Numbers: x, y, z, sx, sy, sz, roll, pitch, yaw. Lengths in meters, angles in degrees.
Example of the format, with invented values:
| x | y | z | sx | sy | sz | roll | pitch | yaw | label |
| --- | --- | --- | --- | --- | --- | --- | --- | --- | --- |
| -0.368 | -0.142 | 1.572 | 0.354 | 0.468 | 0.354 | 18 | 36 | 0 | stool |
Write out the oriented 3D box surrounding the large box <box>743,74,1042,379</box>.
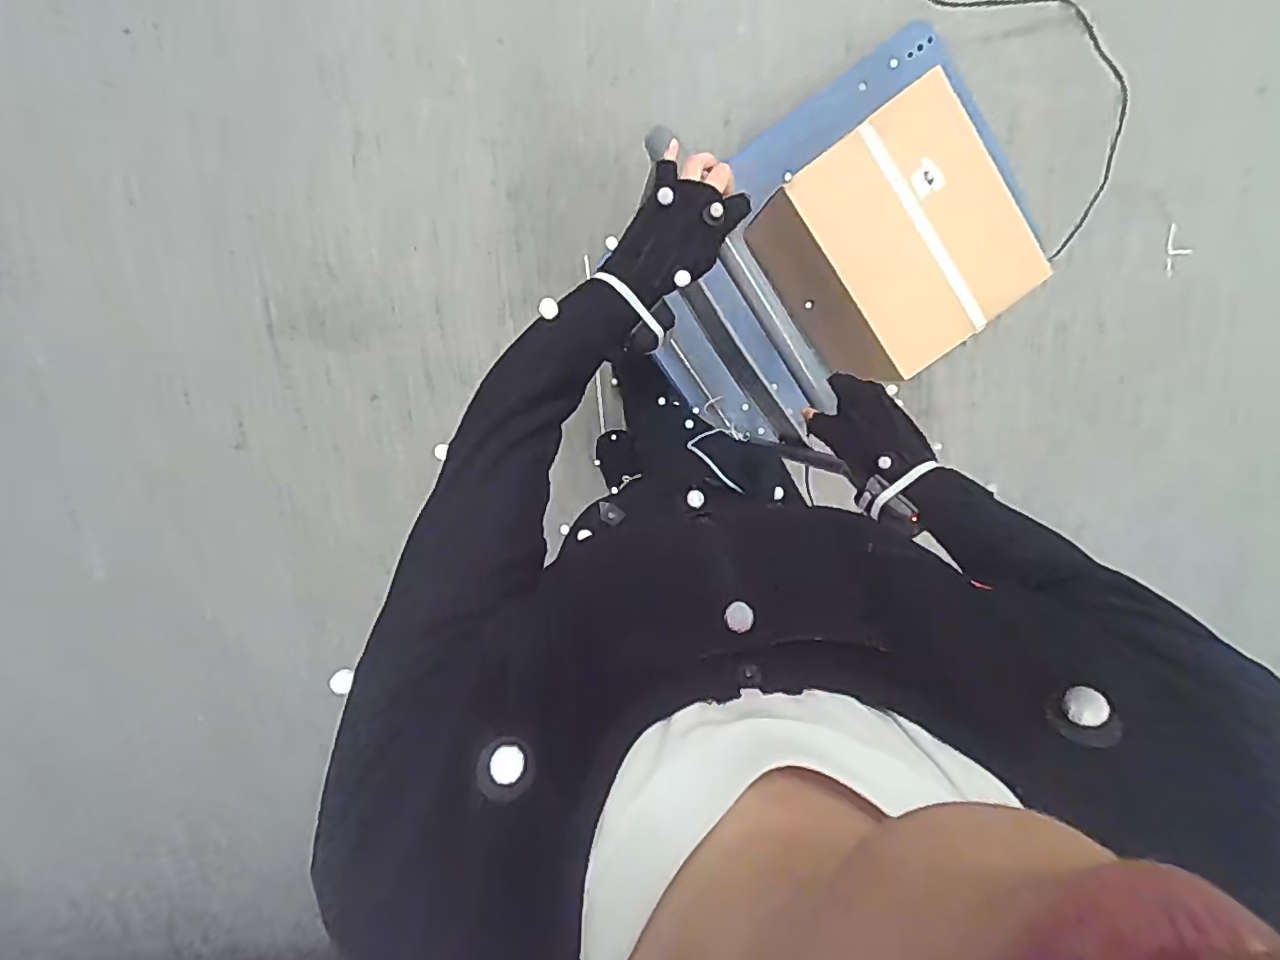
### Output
| x | y | z | sx | sy | sz | roll | pitch | yaw | label |
| --- | --- | --- | --- | --- | --- | --- | --- | --- | --- |
| 0.466 | -0.453 | 1.079 | 0.320 | 0.320 | 0.408 | -36 | 98 | 4 | large box |
